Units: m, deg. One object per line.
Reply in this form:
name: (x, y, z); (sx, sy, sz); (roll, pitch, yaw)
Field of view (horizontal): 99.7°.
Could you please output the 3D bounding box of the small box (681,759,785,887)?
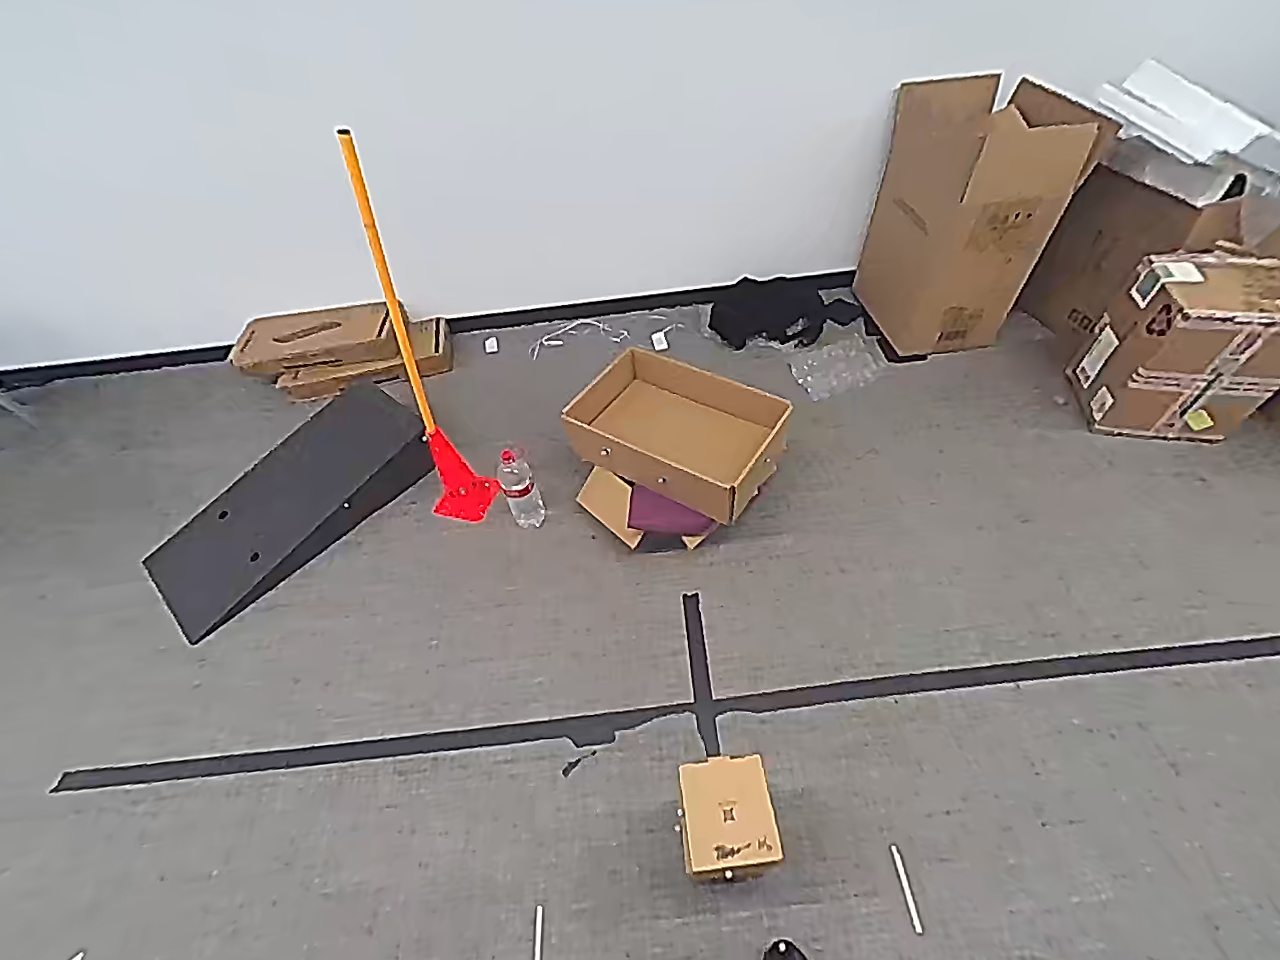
small box: (0.173, 0.675, 1.063); (0.168, 0.176, 0.179); (-8, 48, 0)
